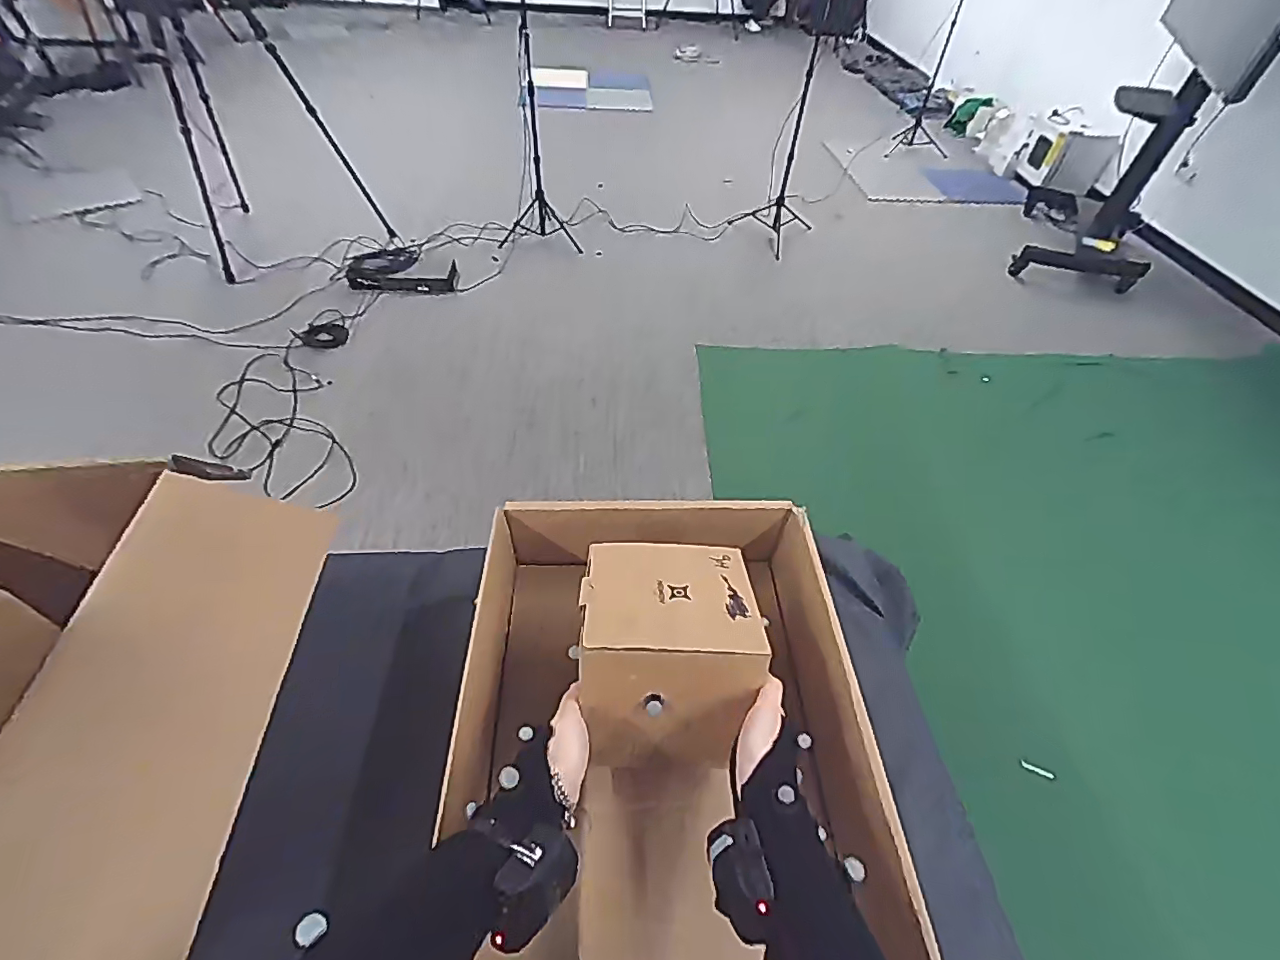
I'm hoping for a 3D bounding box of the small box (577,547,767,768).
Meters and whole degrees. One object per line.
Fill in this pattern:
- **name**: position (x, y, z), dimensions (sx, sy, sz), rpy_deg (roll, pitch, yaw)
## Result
- **small box**: position (0.027, 0.190, 0.592), dimensions (0.179, 0.176, 0.168), rpy_deg (2, 29, -2)
